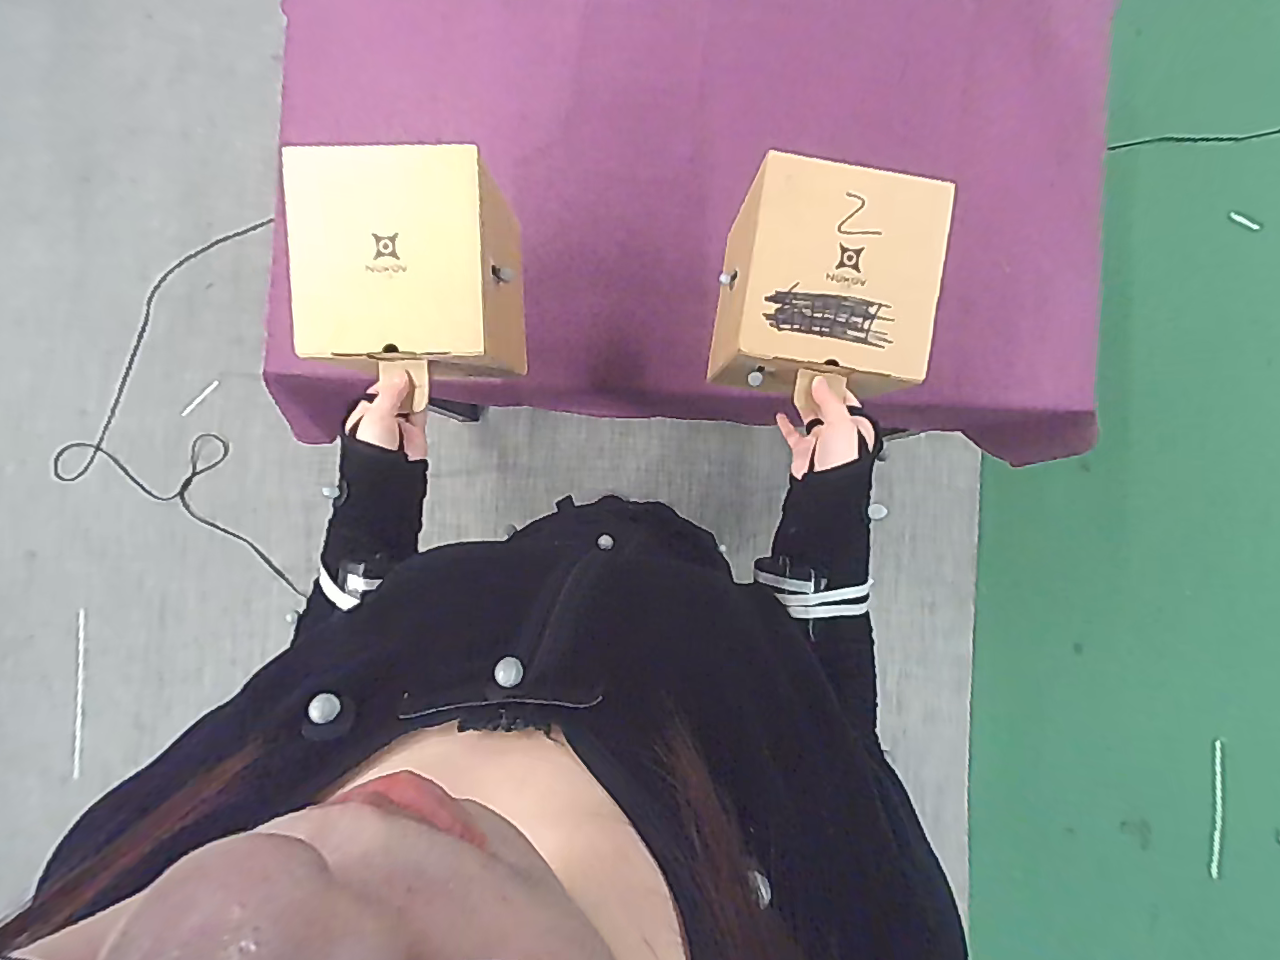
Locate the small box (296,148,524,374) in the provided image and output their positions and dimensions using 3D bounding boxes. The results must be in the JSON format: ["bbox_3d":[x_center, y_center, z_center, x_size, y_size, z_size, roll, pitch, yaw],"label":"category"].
[{"bbox_3d":[-0.217,-0.207,0.555,0.168,0.176,0.179,0,96,0],"label":"small box"}]
